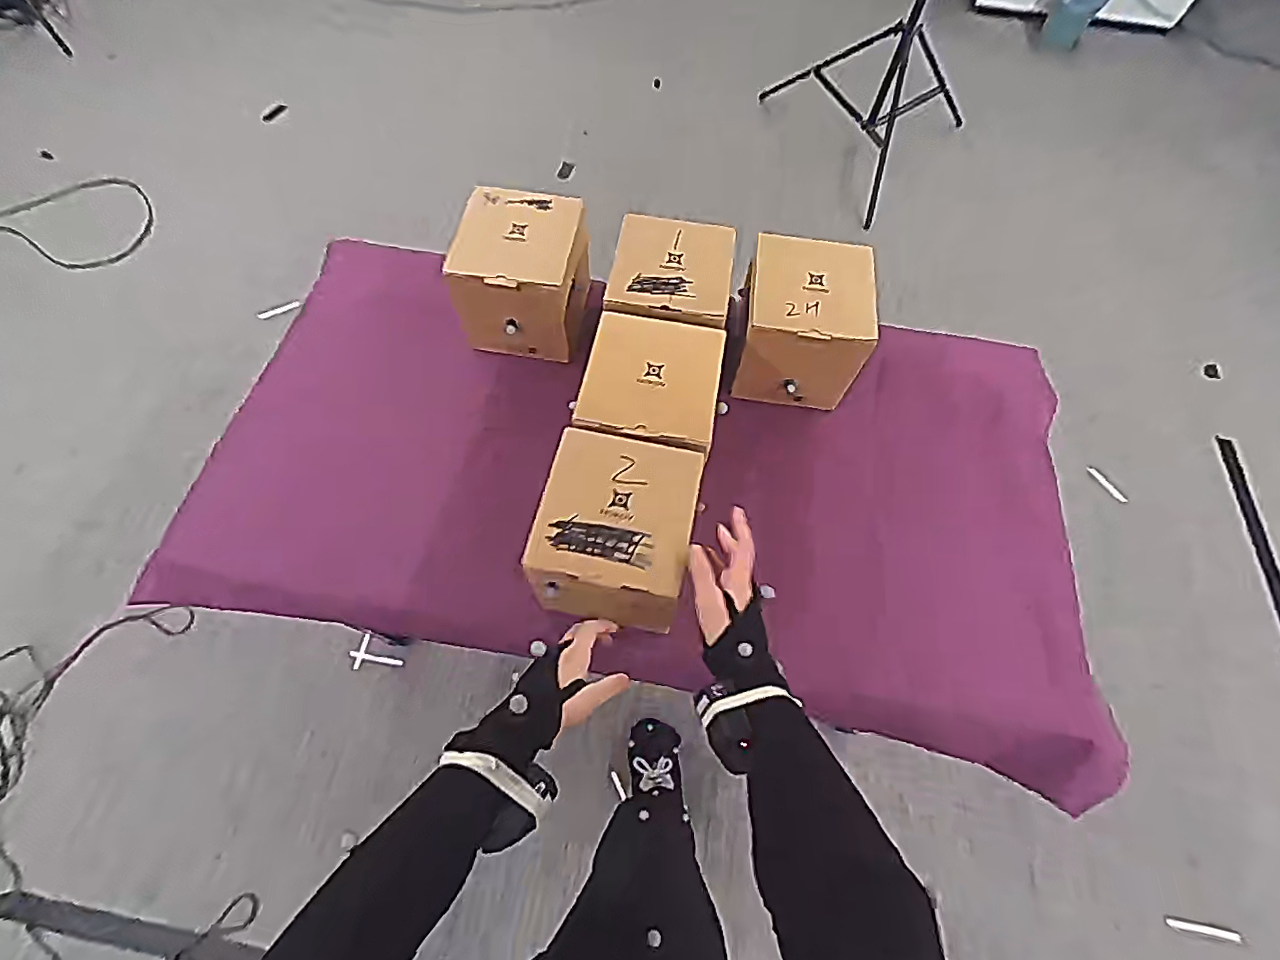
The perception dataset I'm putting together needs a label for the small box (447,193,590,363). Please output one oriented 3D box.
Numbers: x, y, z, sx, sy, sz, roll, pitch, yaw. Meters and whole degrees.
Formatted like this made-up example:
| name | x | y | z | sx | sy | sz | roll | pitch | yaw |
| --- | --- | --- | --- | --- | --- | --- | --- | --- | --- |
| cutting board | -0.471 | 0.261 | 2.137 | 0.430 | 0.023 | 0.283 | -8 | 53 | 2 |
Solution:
| name | x | y | z | sx | sy | sz | roll | pitch | yaw |
| --- | --- | --- | --- | --- | --- | --- | --- | --- | --- |
| small box | -0.173 | -0.304 | 0.838 | 0.168 | 0.176 | 0.179 | 8 | 66 | 2 |
